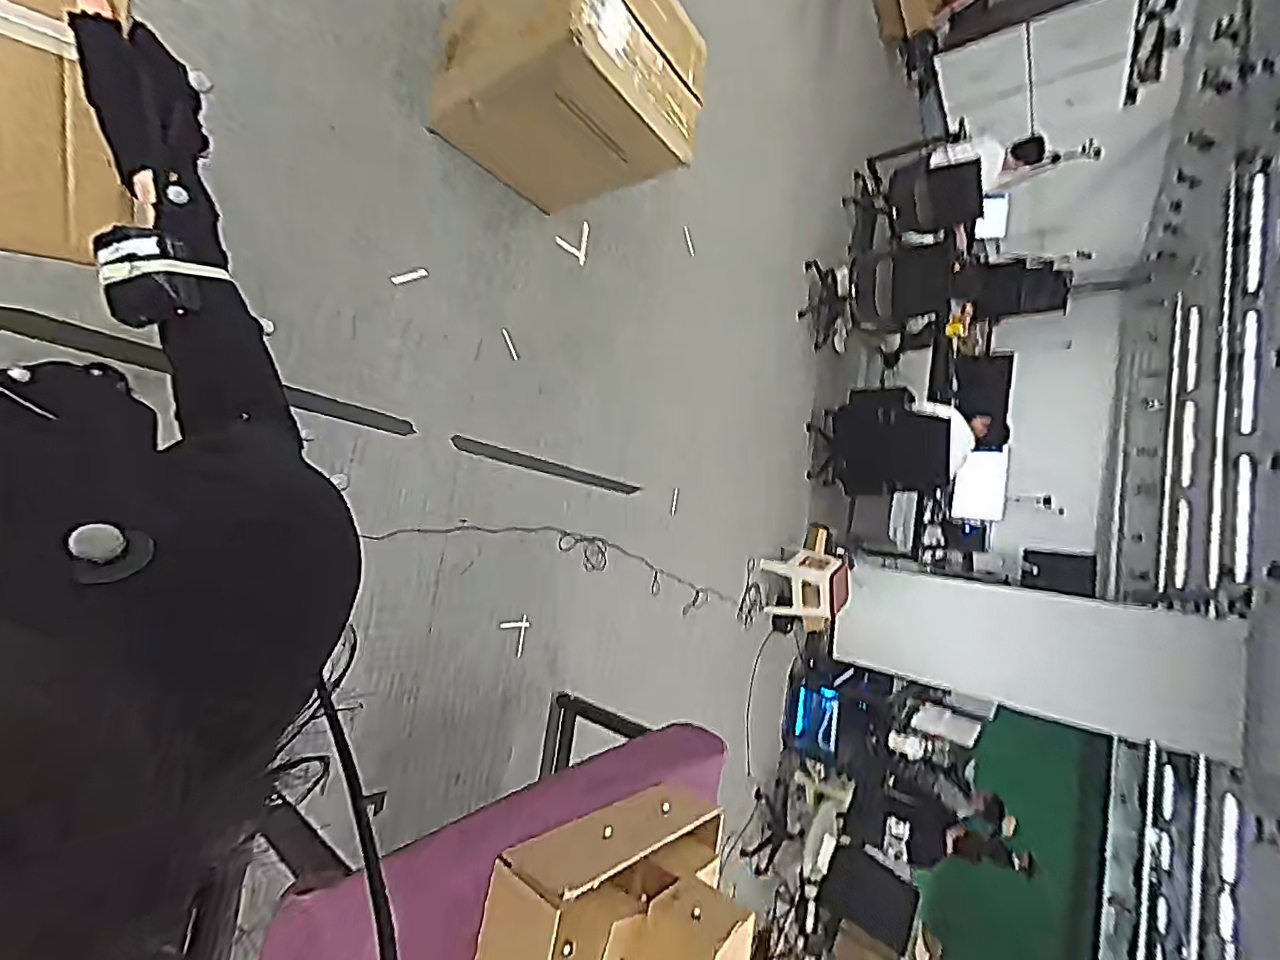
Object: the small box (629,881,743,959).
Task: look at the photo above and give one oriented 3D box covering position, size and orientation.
[{"bbox_3d":[0.091,0.978,1.119,0.168,0.176,0.179,16,83,-51],"label":"small box"}]
